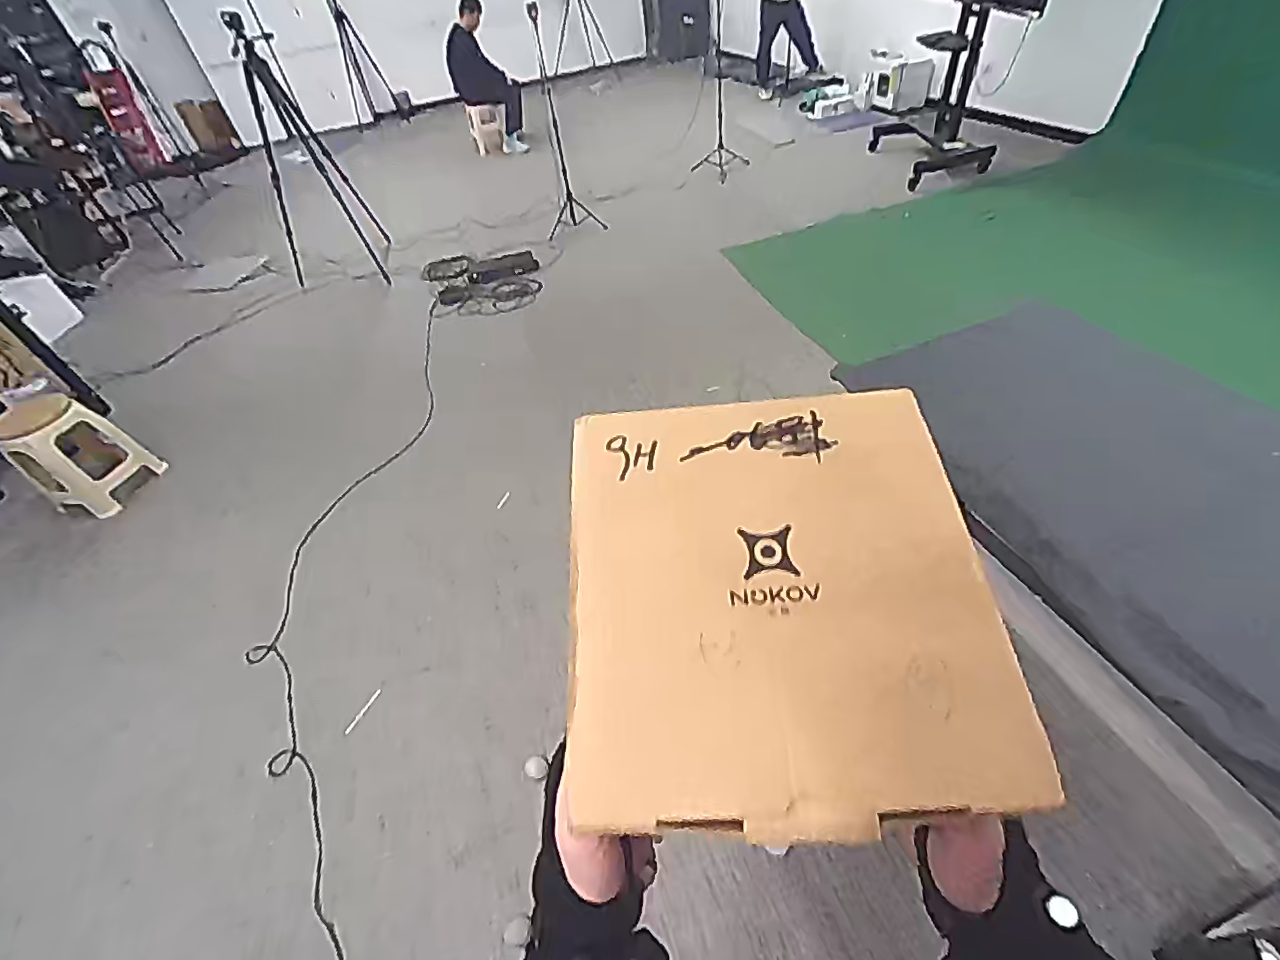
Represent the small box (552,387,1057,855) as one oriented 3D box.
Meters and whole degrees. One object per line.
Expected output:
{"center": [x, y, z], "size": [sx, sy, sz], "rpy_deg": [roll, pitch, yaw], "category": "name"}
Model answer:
{"center": [0.054, 0.075, 0.283], "size": [0.168, 0.176, 0.179], "rpy_deg": [-4, 63, 1], "category": "small box"}
